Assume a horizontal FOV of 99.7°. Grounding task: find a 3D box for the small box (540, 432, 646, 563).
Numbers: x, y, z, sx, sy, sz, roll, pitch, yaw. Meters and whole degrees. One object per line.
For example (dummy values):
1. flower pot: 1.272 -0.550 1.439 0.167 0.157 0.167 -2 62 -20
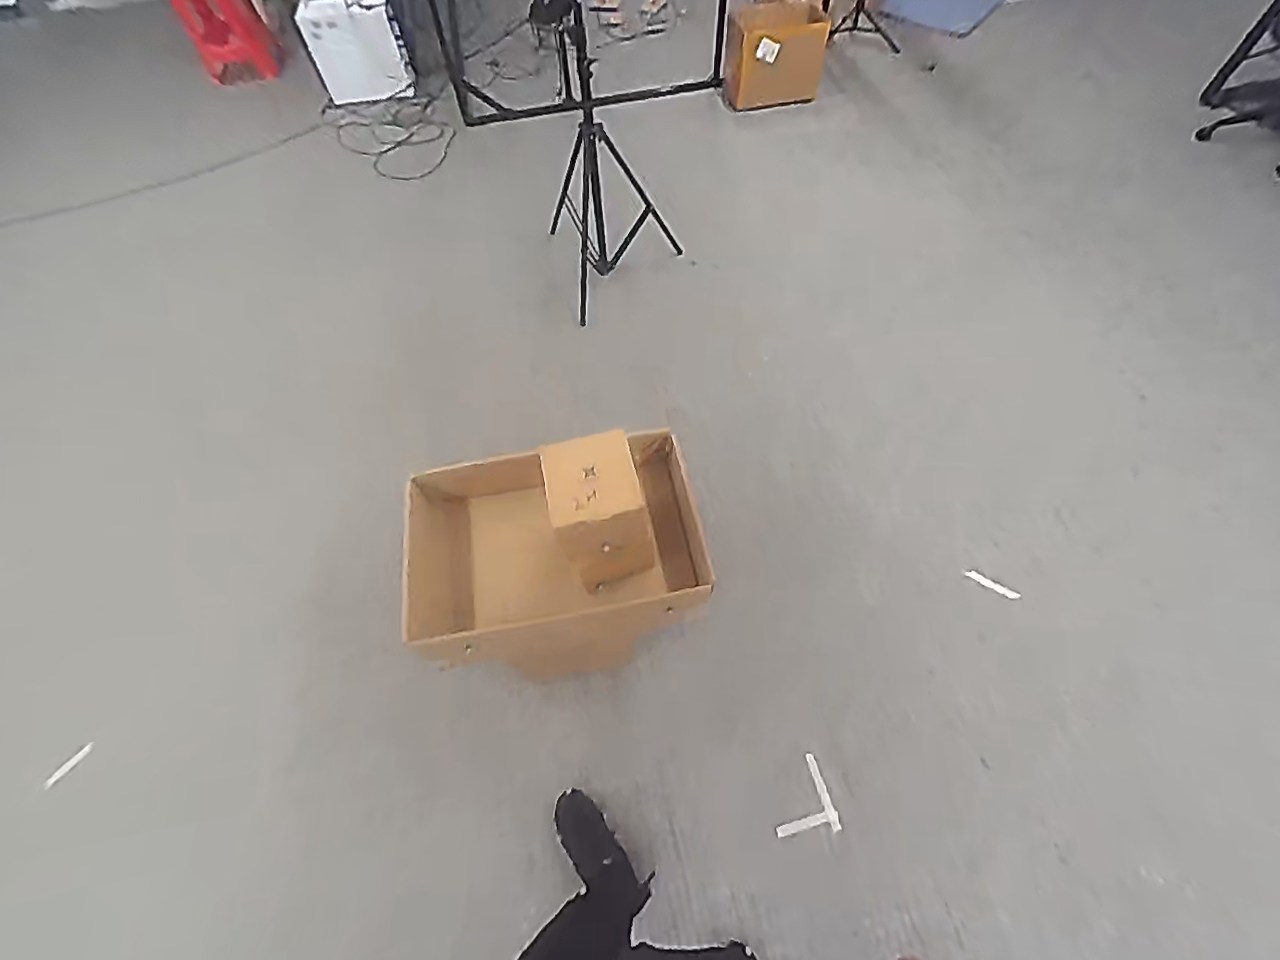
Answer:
1. small box: -0.087 0.037 1.039 0.168 0.176 0.179 -13 61 -4
